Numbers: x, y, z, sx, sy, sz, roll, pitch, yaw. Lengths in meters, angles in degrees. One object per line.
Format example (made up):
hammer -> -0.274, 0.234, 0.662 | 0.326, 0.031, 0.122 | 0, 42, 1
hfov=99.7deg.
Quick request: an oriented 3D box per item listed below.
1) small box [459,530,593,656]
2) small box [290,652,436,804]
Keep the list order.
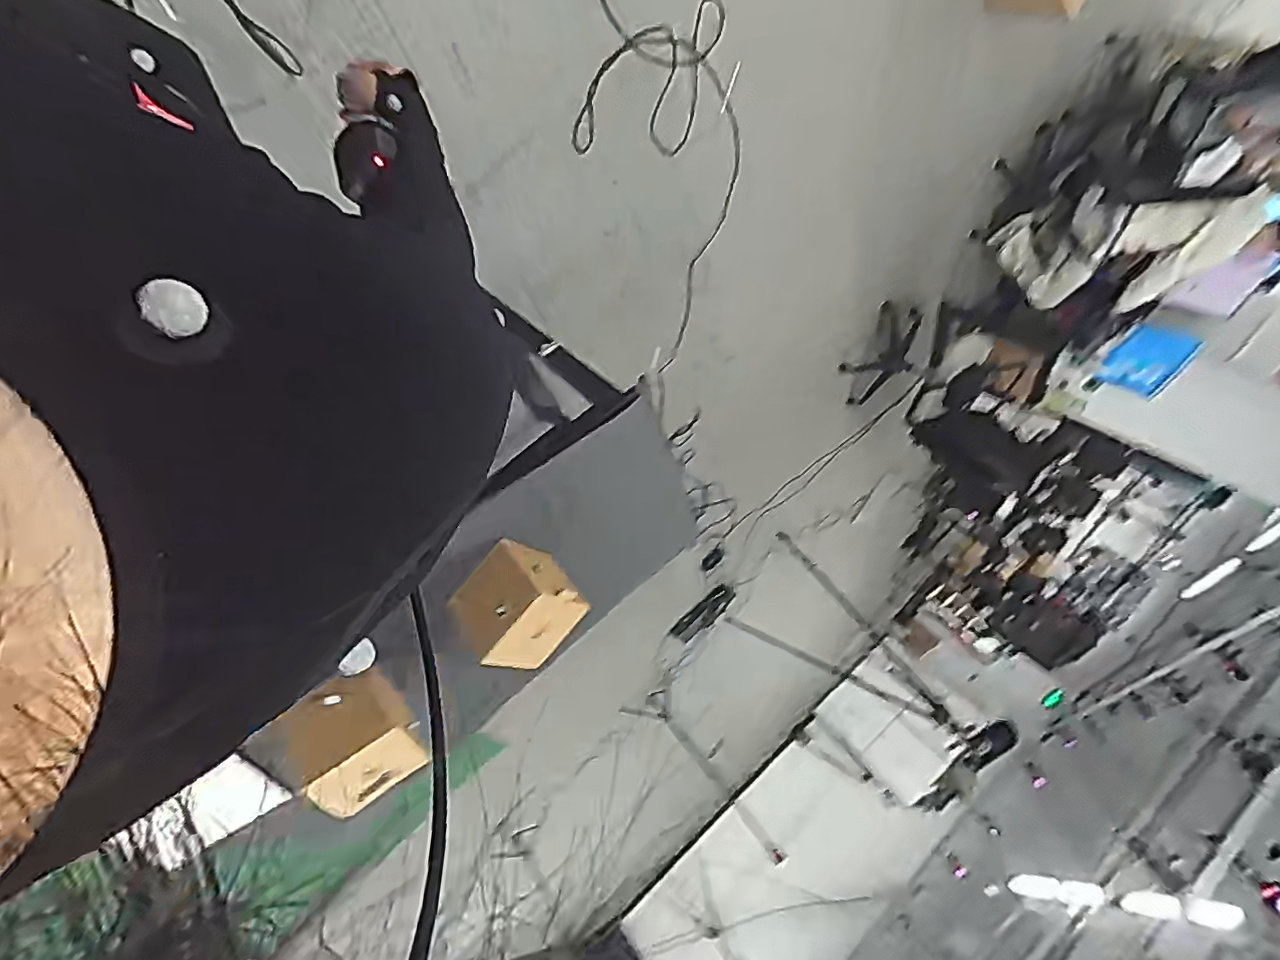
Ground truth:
small box -> -0.236, 0.229, 1.102 | 0.179, 0.176, 0.168 | -50, 144, 4
small box -> -0.516, 0.459, 1.015 | 0.168, 0.176, 0.179 | -32, 141, -23
